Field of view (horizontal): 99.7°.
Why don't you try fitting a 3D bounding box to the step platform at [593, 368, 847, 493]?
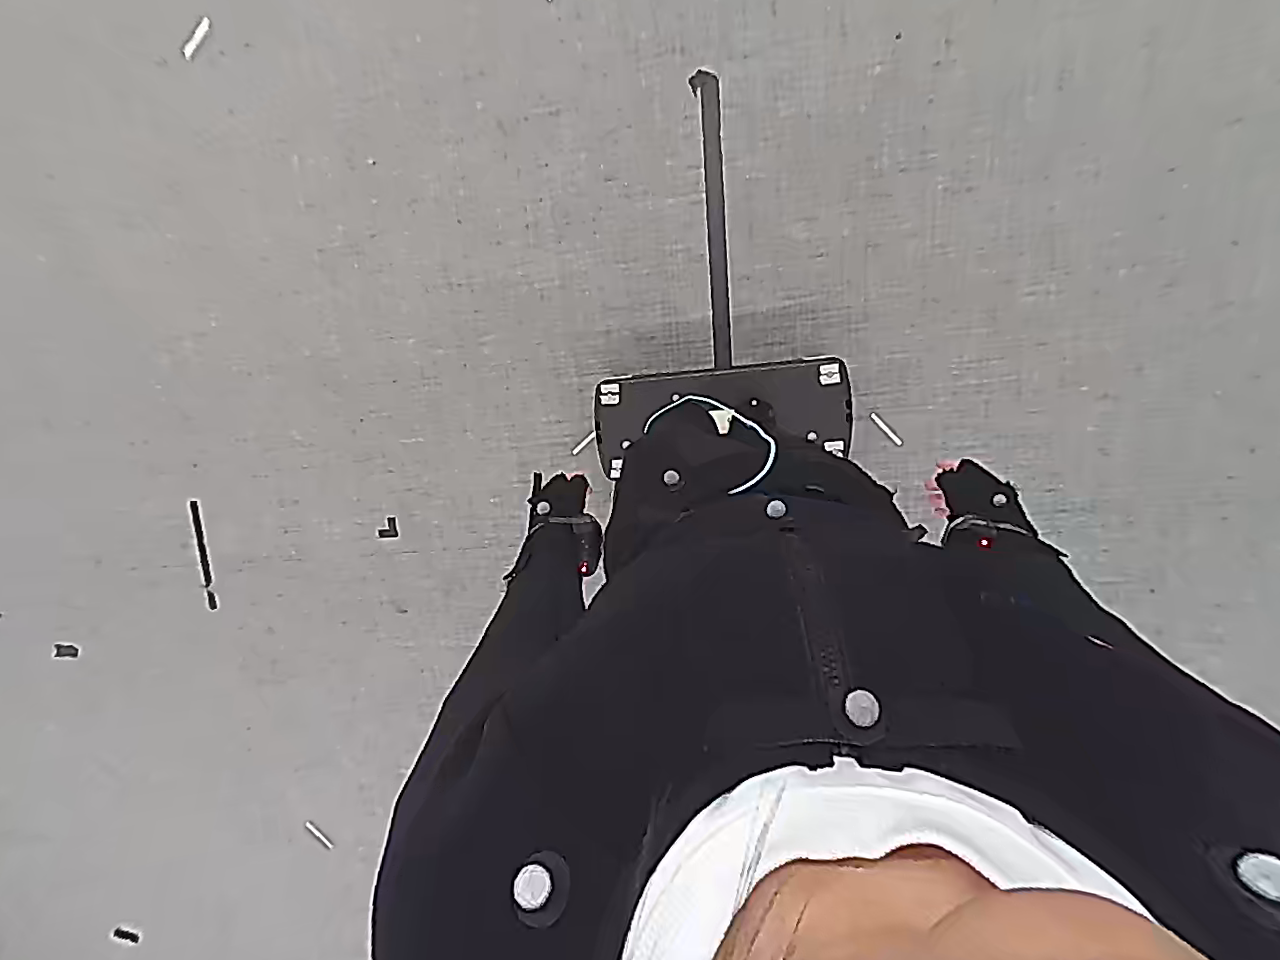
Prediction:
[{"bbox_3d":[0.211,-0.135,1.505,0.684,0.204,0.286,-5,99,8],"label":"step platform"}]
